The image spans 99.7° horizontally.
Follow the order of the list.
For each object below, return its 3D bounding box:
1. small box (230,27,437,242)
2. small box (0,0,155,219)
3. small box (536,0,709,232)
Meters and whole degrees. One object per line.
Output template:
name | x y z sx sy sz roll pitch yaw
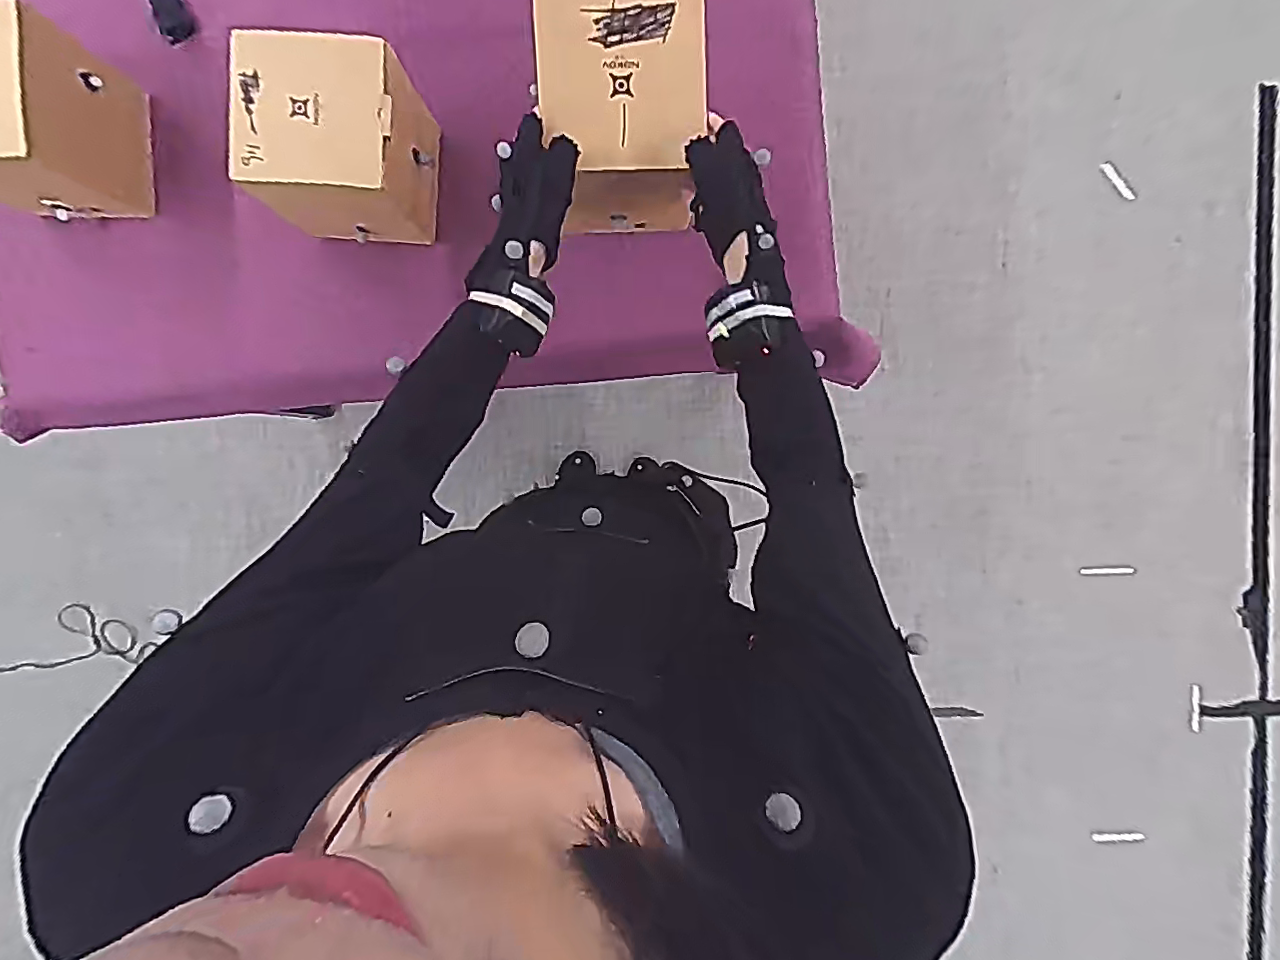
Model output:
small box | -0.370 -0.417 0.683 0.179 0.176 0.168 3 93 -2
small box | -0.761 -0.451 0.675 0.168 0.176 0.179 0 94 0
small box | -0.020 -0.393 0.595 0.168 0.176 0.179 -2 96 -3
